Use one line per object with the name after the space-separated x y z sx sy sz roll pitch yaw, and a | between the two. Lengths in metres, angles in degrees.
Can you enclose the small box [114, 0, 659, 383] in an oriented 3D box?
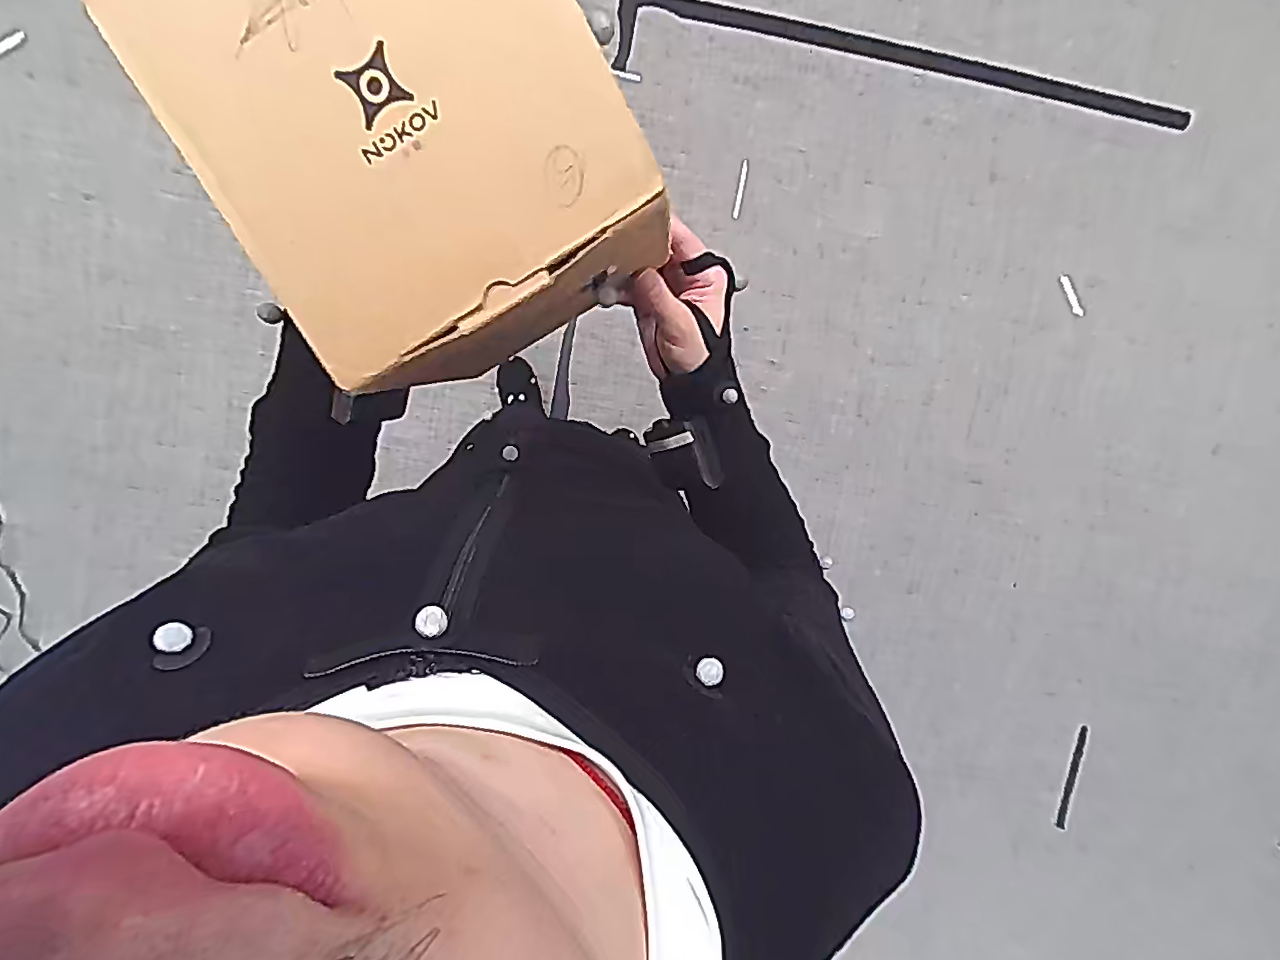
-0.099 -0.174 0.301 0.168 0.176 0.179 -29 100 8 | small box
